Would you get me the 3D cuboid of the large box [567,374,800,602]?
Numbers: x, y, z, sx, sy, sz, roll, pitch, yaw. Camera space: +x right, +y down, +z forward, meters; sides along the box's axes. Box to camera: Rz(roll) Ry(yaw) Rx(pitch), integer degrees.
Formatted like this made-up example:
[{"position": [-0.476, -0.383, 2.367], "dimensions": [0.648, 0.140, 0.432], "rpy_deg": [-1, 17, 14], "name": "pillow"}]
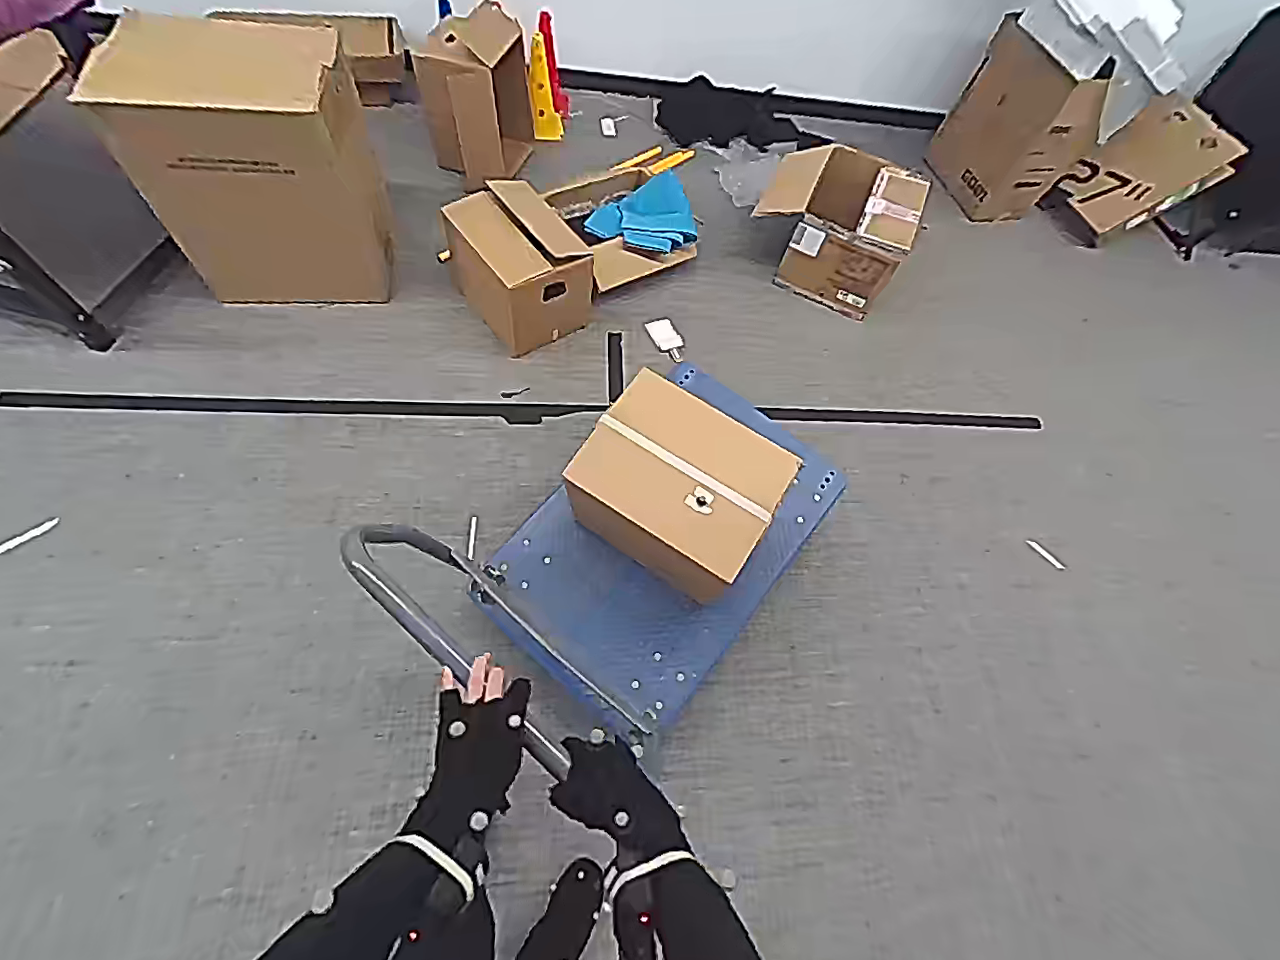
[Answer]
[{"position": [0.084, 0.031, 1.260], "dimensions": [0.408, 0.320, 0.320], "rpy_deg": [31, 71, 8], "name": "large box"}]
